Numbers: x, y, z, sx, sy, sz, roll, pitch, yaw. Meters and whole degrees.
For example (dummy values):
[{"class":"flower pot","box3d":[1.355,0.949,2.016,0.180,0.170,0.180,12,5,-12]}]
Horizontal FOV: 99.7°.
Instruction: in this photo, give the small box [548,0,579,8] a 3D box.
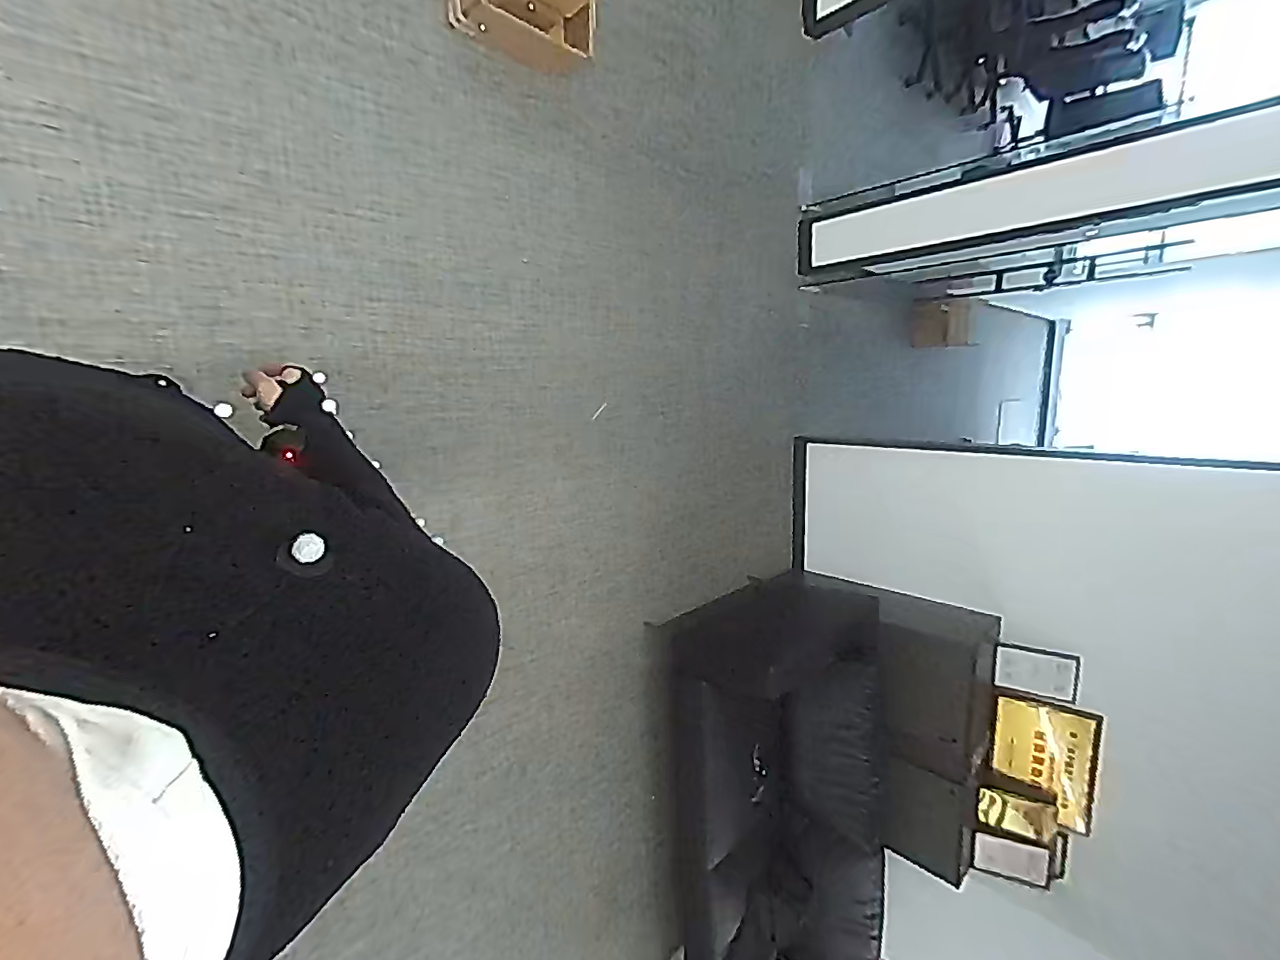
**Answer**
[{"class":"small box","box3d":[-0.220,-1.461,1.489,0.179,0.176,0.168,-4,100,-43]}]
